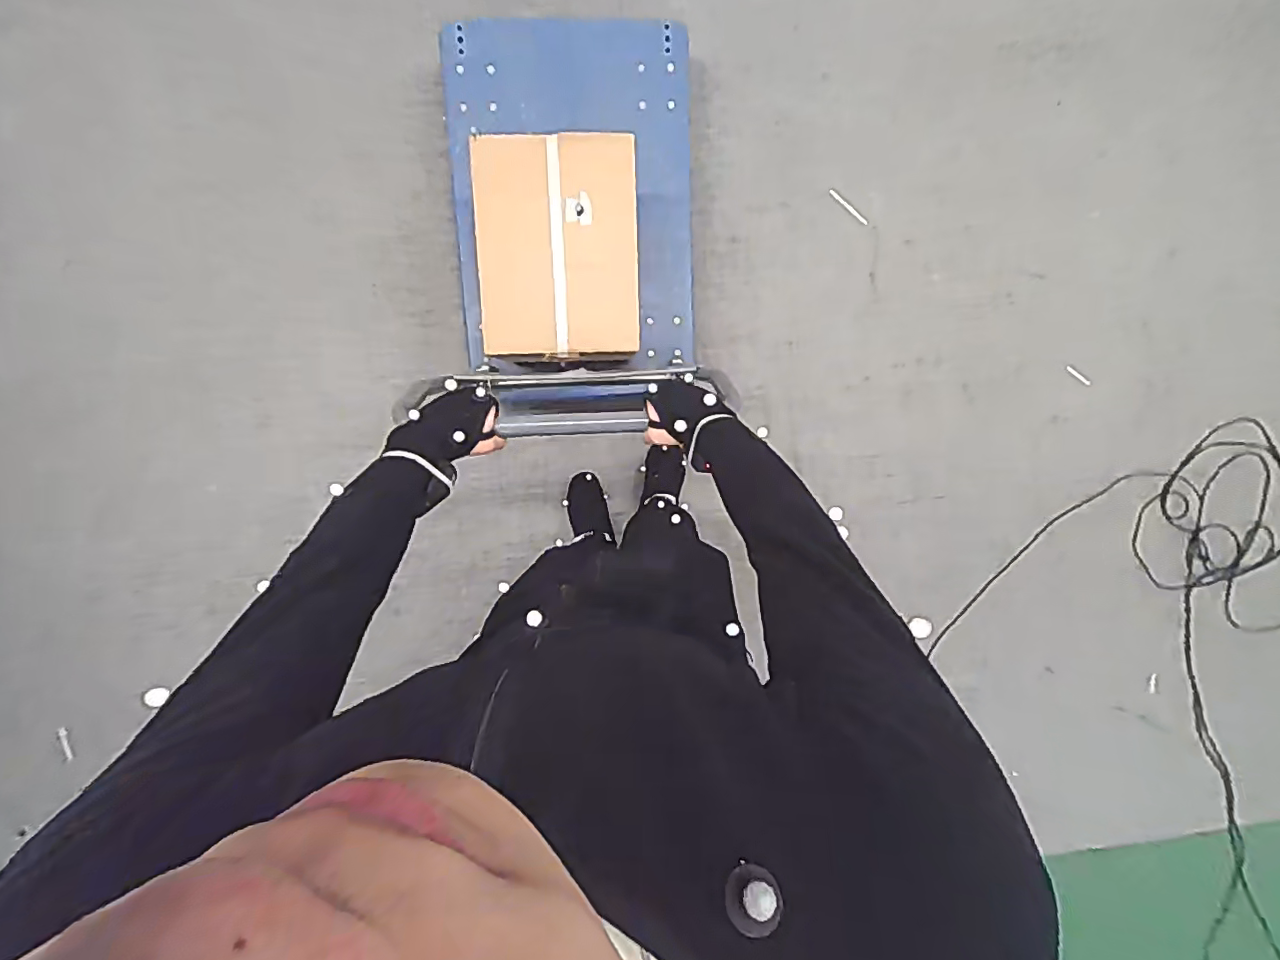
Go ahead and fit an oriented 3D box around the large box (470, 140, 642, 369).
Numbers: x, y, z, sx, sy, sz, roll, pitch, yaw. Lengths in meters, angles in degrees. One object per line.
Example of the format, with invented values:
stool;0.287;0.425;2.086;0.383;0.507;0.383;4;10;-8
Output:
large box;-0.166;-0.466;1.202;0.320;0.320;0.408;-3;99;-3
